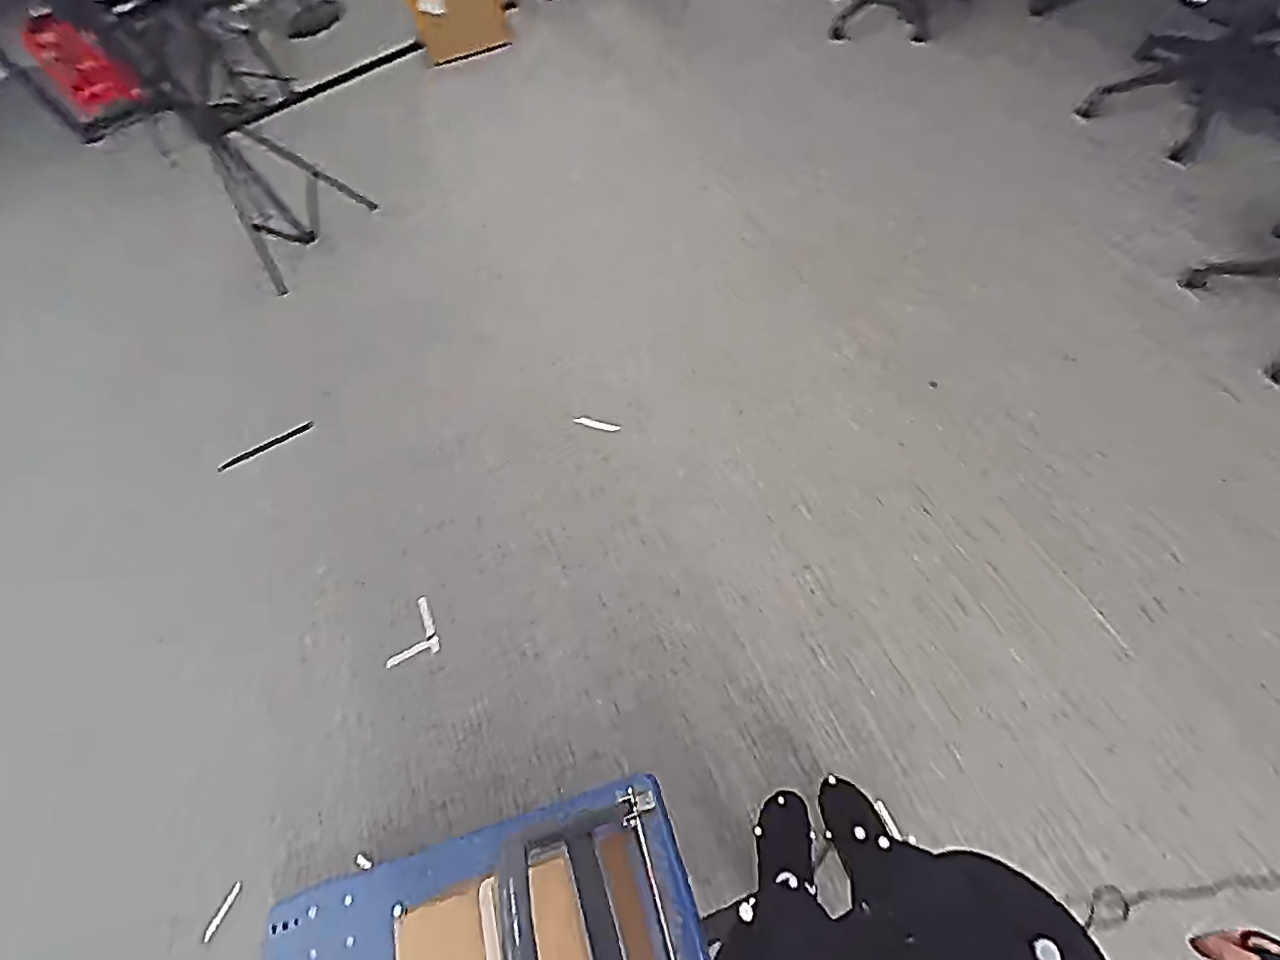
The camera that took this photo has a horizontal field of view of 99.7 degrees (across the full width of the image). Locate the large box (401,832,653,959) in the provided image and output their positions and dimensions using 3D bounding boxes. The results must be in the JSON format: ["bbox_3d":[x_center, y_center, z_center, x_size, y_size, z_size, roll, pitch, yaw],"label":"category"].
[{"bbox_3d":[-0.150,0.863,0.884,0.320,0.320,0.408,-19,60,1],"label":"large box"}]
